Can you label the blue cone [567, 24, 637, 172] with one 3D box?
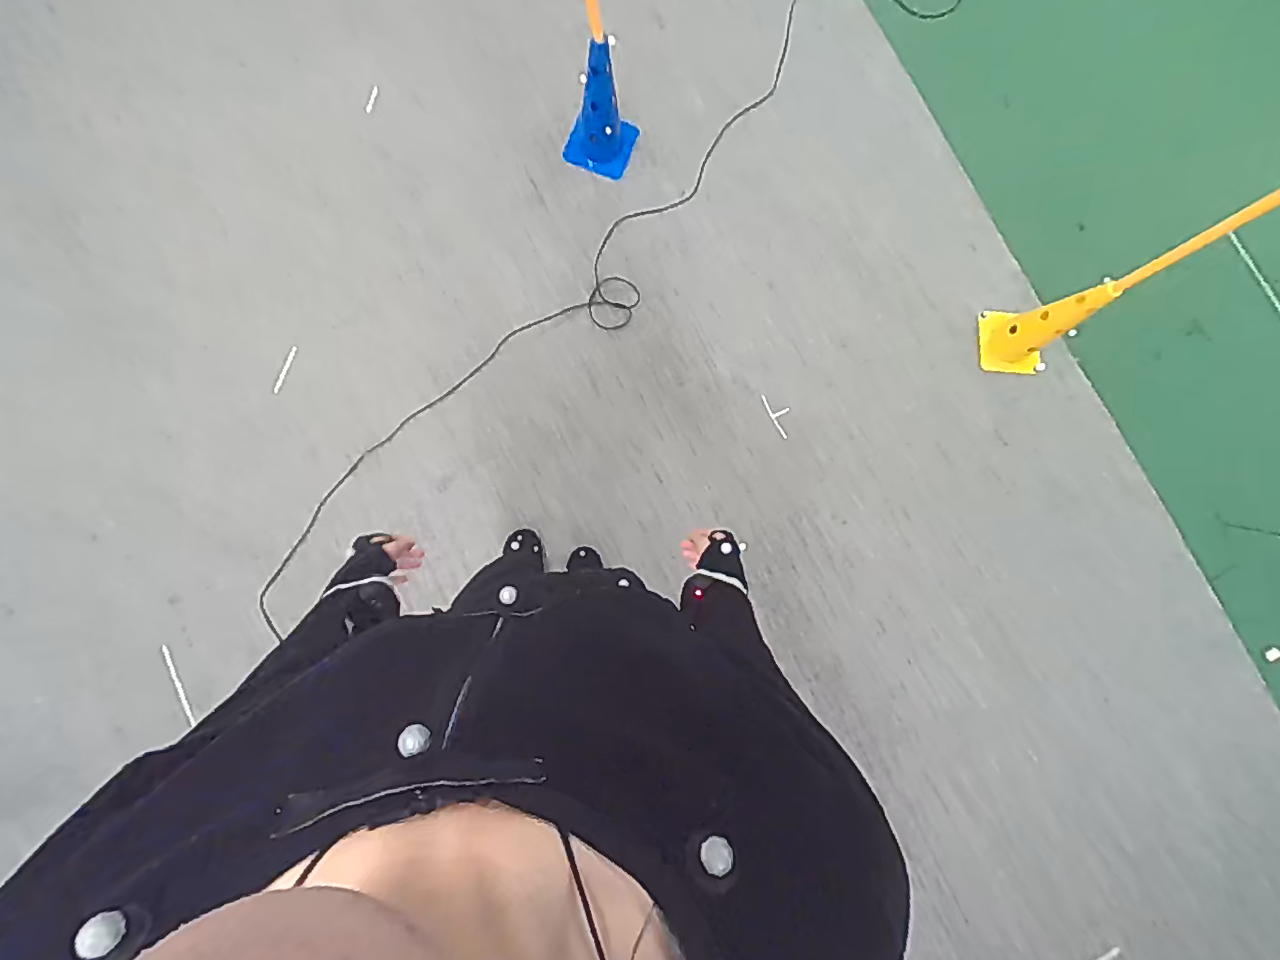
[{"bbox_3d":[-0.110,-1.074,1.514,0.193,0.380,0.192,18,82,0],"label":"blue cone"}]
